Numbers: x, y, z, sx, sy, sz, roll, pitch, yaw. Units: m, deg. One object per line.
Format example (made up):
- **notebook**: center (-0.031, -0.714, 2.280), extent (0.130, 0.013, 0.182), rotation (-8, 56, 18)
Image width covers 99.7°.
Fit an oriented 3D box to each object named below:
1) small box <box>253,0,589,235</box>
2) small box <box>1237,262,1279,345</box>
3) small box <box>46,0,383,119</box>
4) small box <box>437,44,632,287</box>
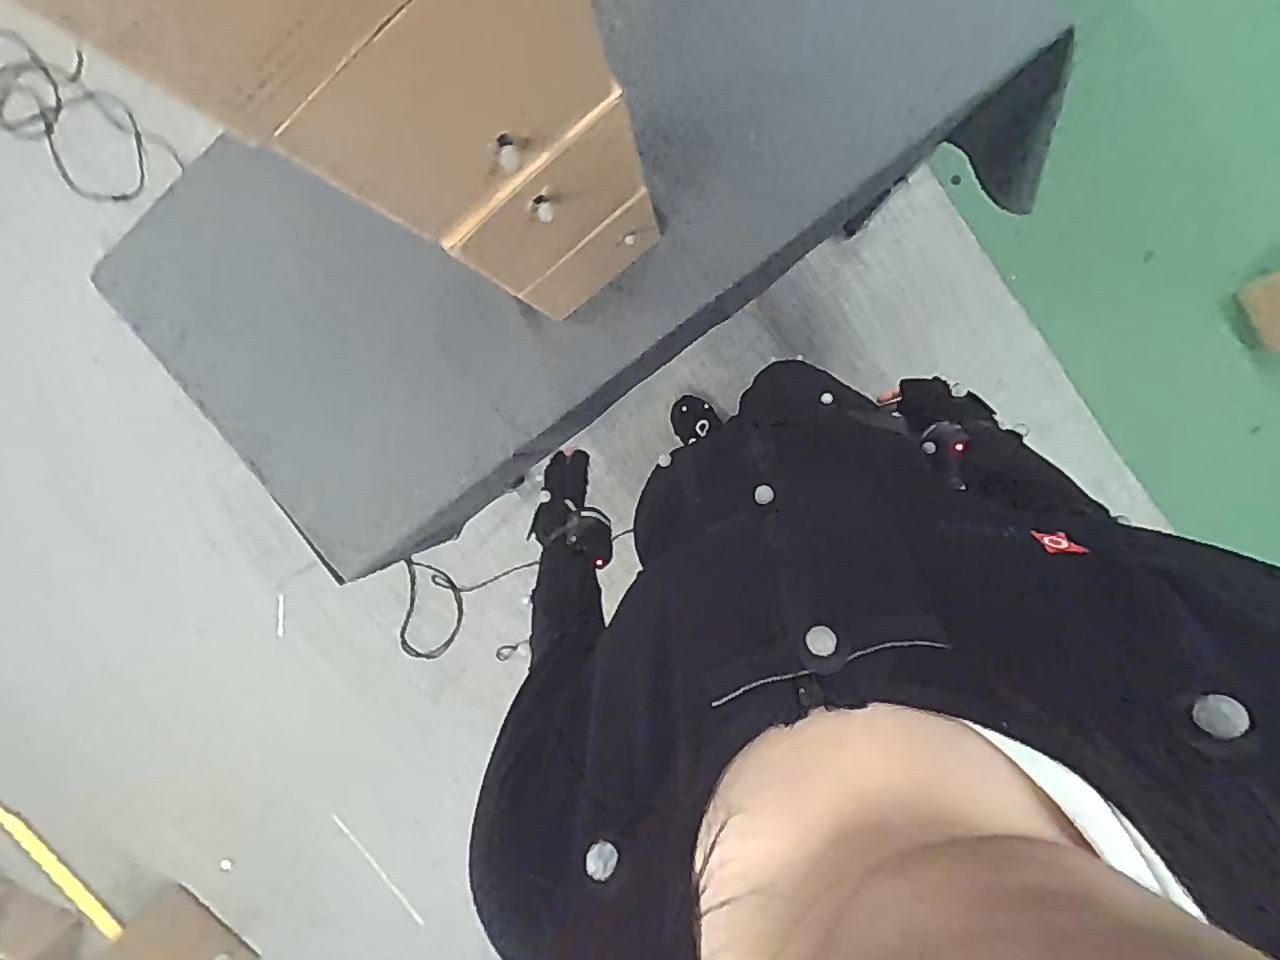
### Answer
- **small box**: center (-0.146, -0.287, 0.324), extent (0.179, 0.176, 0.168), rotation (-35, 92, 10)
- **small box**: center (1.492, -0.407, 1.175), extent (0.168, 0.176, 0.179), rotation (-32, 92, 9)
- **small box**: center (-0.173, -0.265, 0.163), extent (0.179, 0.176, 0.168), rotation (-37, 92, 10)
- **small box**: center (-0.121, -0.305, 0.484), extent (0.179, 0.176, 0.168), rotation (-37, 92, 10)
